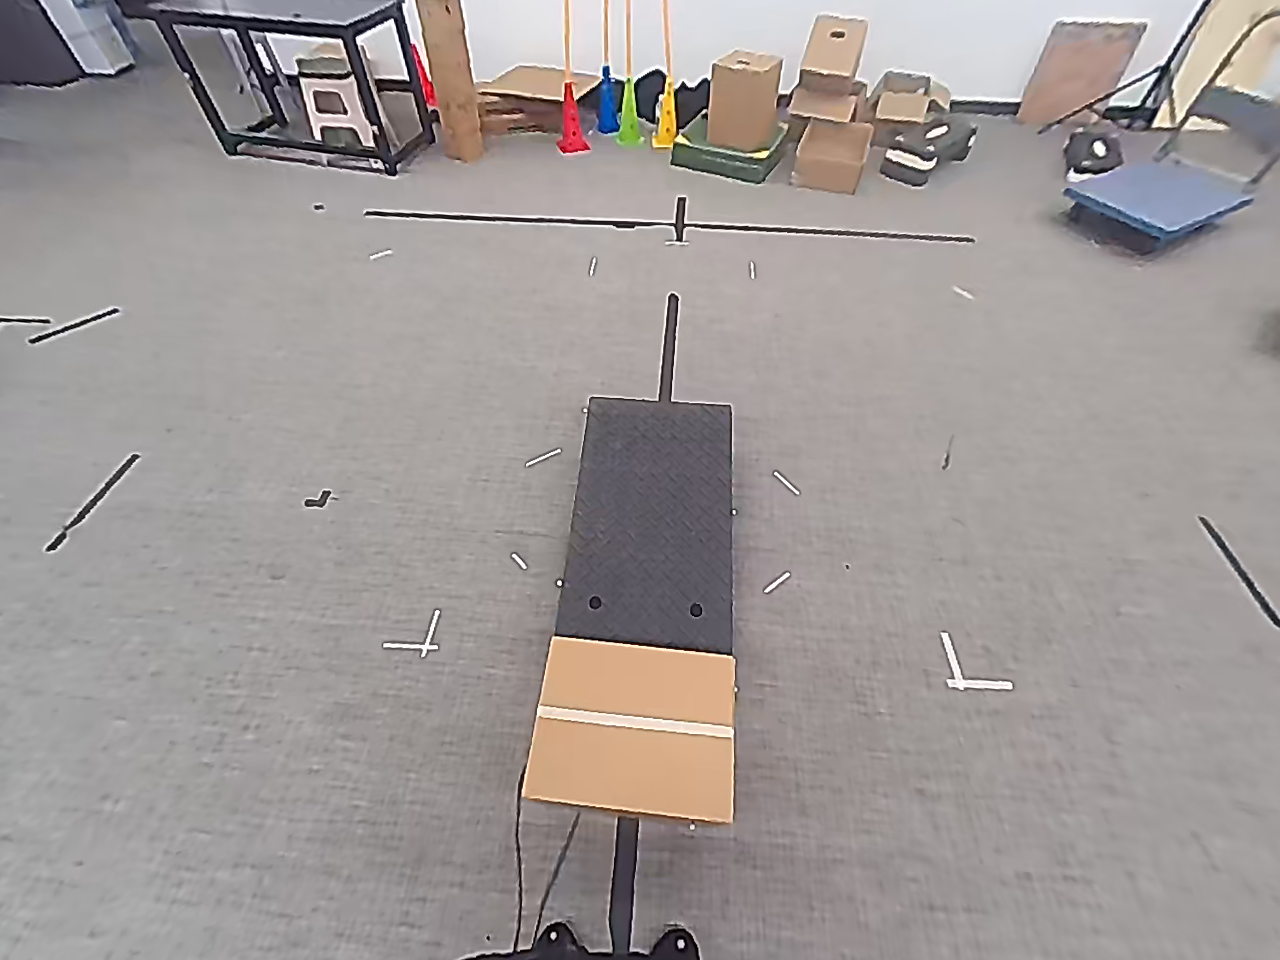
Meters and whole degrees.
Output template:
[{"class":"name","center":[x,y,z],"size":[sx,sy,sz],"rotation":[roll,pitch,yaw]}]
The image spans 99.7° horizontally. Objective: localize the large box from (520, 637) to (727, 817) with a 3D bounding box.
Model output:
[{"class":"large box","center":[-0.022,0.571,1.234],"size":[0.408,0.320,0.320],"rotation":[6,56,2]}]

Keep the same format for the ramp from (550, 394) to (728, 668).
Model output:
[{"class":"ramp","center":[0.023,0.164,1.636],"size":[0.509,0.206,0.991],"rotation":[4,53,-1]}]
